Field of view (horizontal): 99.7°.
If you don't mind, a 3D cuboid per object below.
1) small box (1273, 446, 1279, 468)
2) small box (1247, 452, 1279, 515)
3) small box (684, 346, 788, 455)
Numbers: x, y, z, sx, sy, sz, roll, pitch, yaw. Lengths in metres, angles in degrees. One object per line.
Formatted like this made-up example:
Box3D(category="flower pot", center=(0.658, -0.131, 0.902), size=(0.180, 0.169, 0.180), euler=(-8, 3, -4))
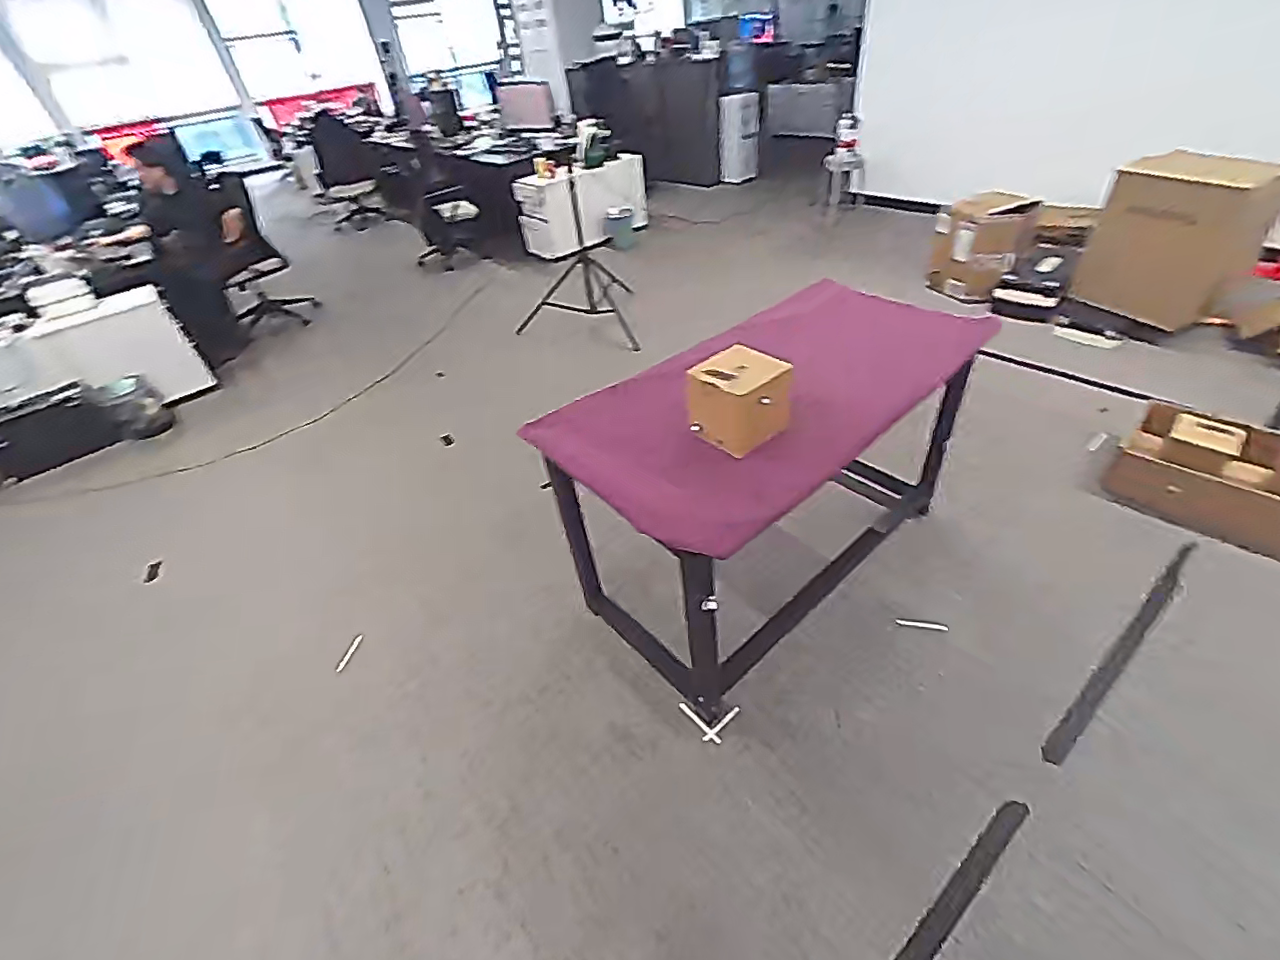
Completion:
Box3D(category="small box", center=(2.098, -0.108, 1.635), size=(0.168, 0.176, 0.179), euler=(-36, 46, -28))
Box3D(category="small box", center=(2.122, 0.015, 1.738), size=(0.179, 0.176, 0.168), euler=(-35, 47, -28))
Box3D(category="small box", center=(0.226, -0.184, 1.265), size=(0.179, 0.176, 0.168), euler=(-32, 46, -26))
